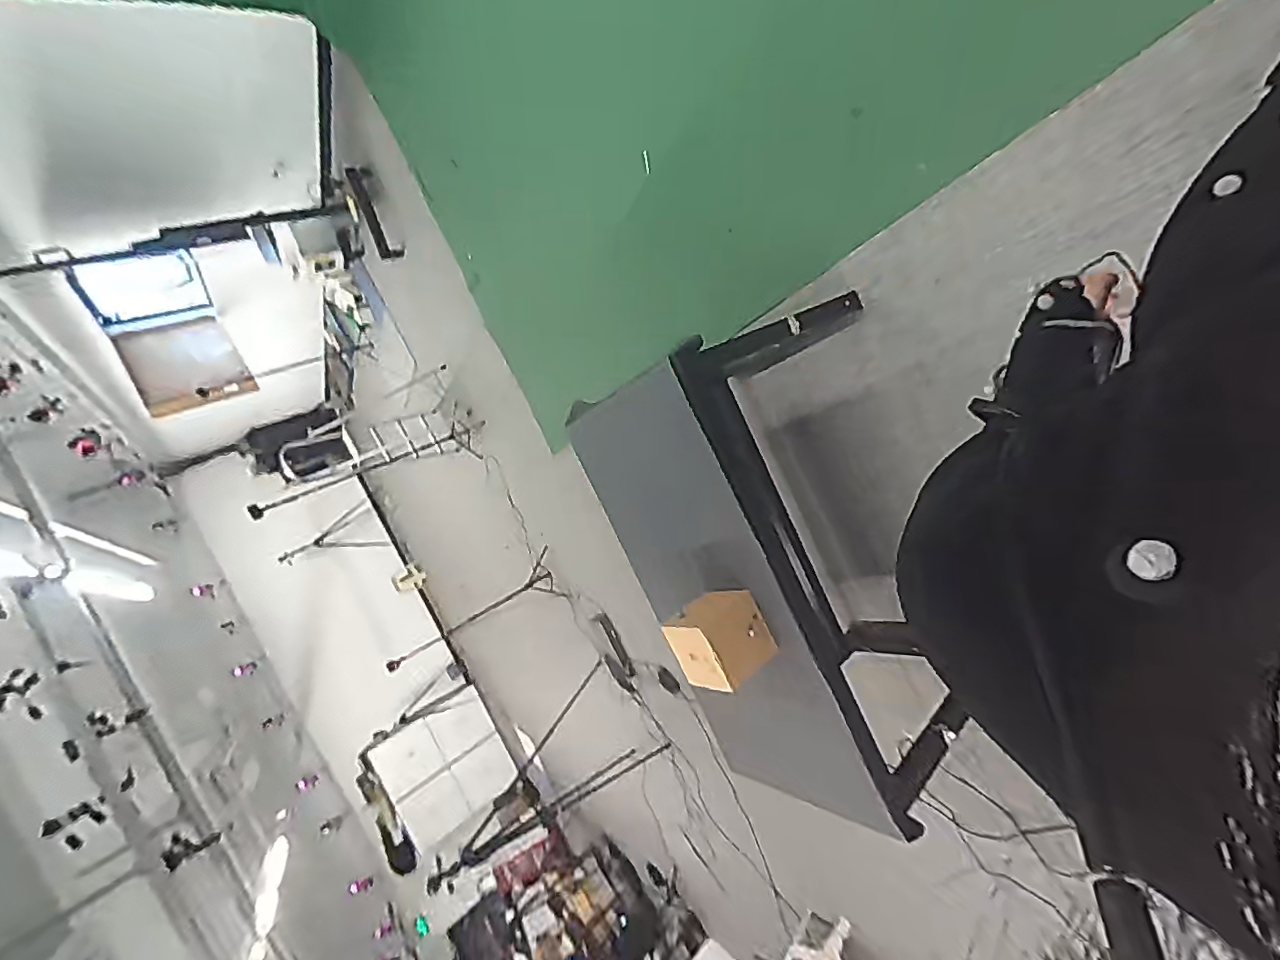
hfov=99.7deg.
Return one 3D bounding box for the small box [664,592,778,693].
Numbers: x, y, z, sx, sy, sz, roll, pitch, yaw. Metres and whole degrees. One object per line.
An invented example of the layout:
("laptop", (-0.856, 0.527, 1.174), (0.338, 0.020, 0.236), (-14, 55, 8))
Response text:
("small box", (0.195, 0.382, 1.298), (0.179, 0.176, 0.168), (-24, 94, 58))
